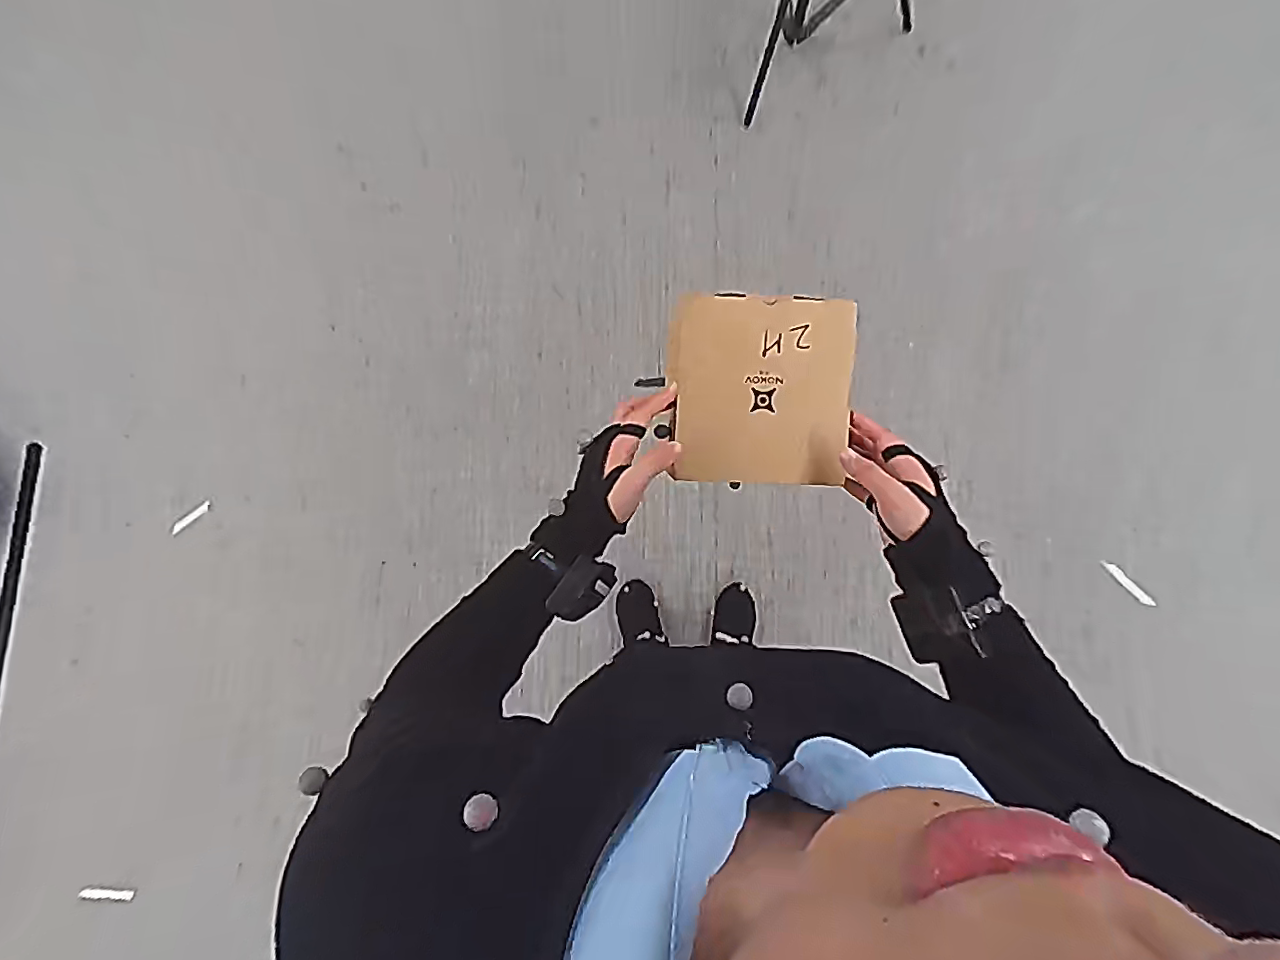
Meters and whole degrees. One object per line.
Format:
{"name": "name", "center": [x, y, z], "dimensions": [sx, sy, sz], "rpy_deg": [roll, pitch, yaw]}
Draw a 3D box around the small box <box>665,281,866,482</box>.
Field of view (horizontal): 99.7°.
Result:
{"name": "small box", "center": [0.115, -0.095, 0.564], "dimensions": [0.168, 0.176, 0.179], "rpy_deg": [2, 96, -1]}
